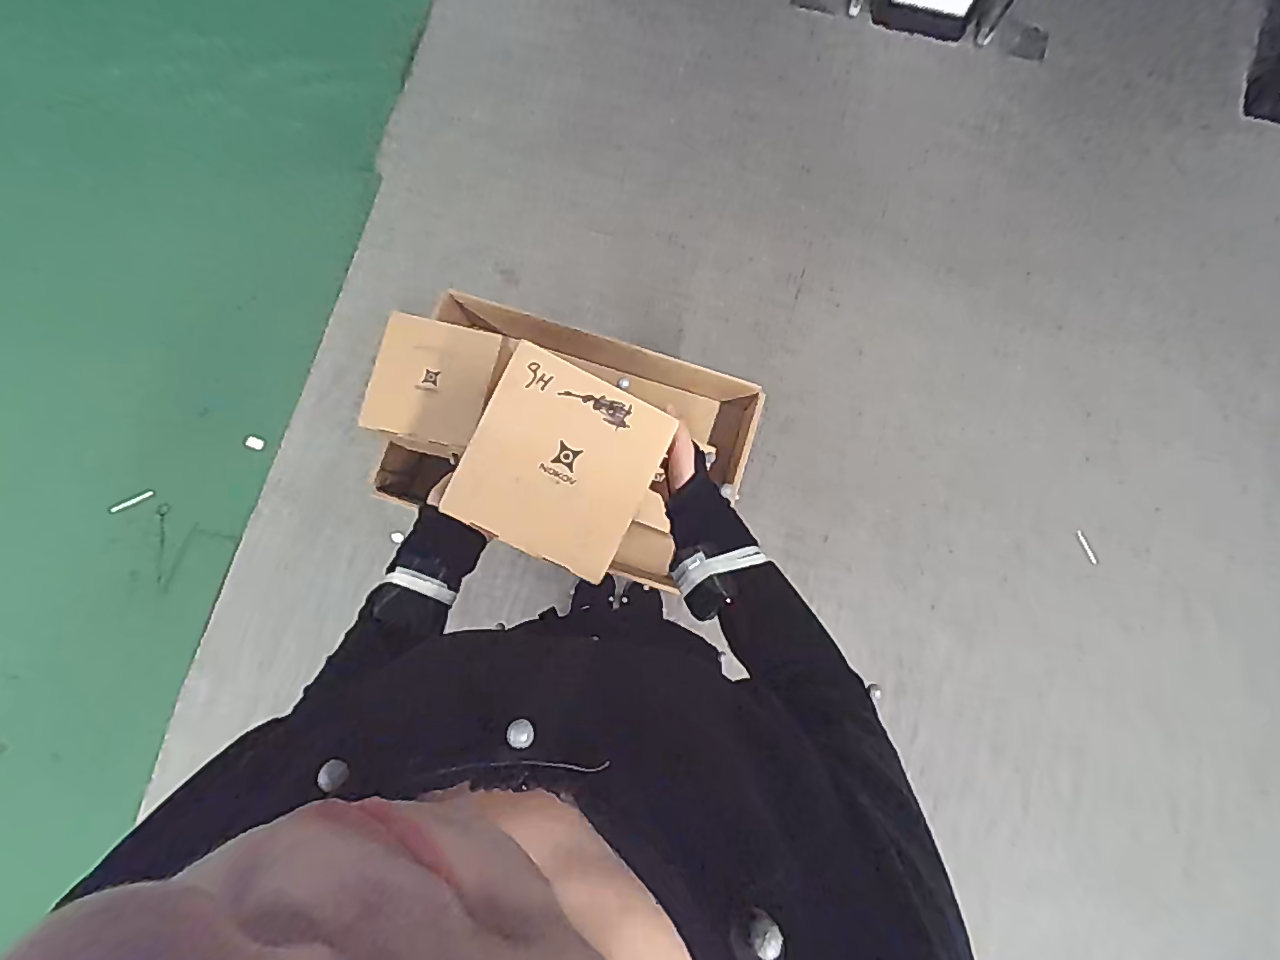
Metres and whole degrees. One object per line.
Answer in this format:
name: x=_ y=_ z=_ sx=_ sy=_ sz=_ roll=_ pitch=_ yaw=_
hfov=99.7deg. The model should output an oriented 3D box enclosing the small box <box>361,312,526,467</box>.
small box: x=-0.289 y=-0.127 z=0.837 sx=0.168 sy=0.176 sz=0.179 roll=14 pitch=82 yaw=2
